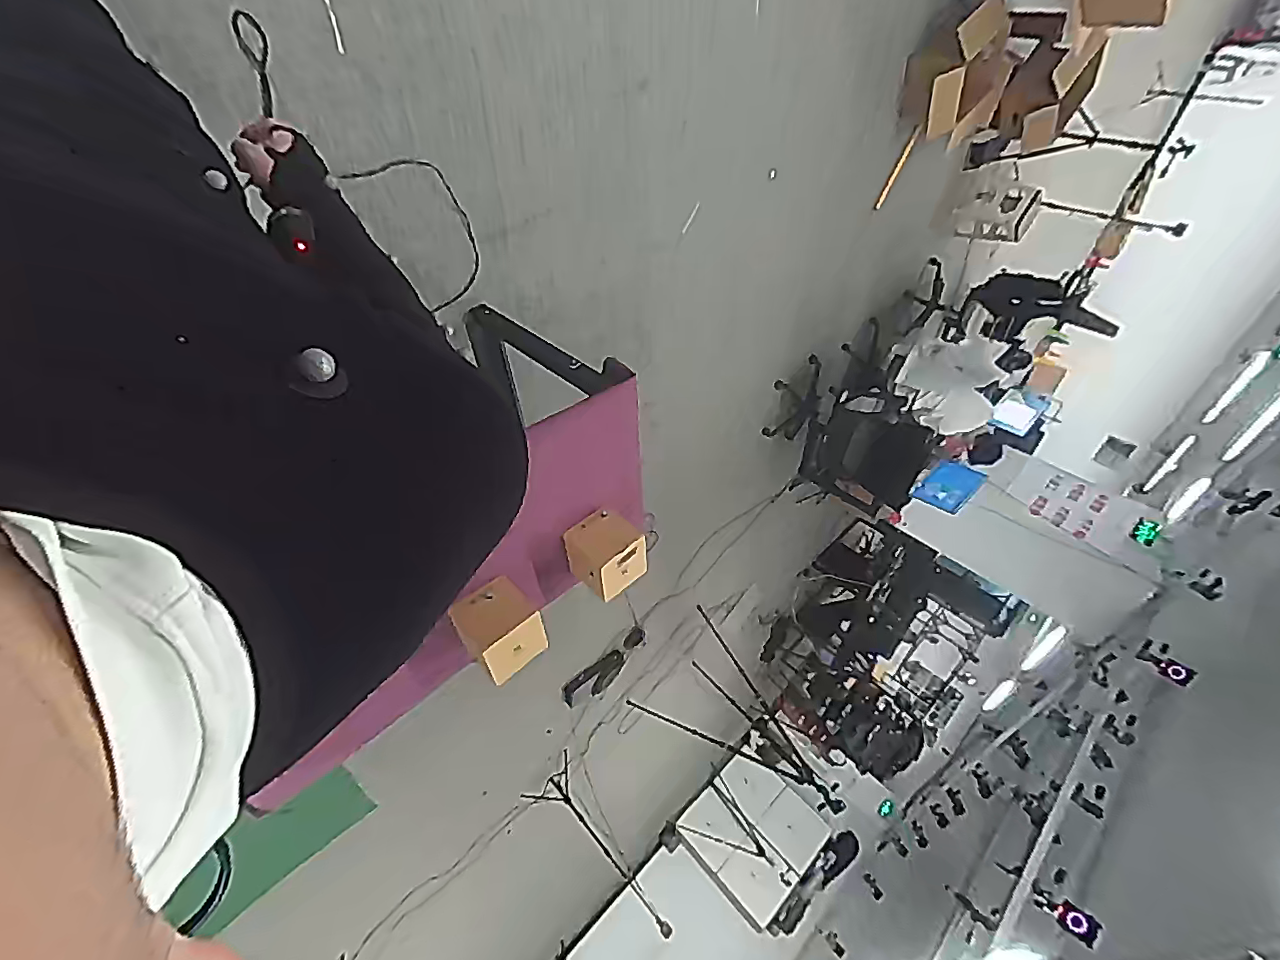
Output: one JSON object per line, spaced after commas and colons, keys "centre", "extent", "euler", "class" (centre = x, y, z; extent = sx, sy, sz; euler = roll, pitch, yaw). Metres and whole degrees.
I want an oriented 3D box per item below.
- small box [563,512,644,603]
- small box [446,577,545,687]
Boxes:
{"centre": [-0.106, 0.214, 1.564], "extent": [0.168, 0.176, 0.179], "euler": [-34, 143, -28], "class": "small box"}
{"centre": [-0.369, 0.384, 1.391], "extent": [0.168, 0.176, 0.179], "euler": [-34, 142, -30], "class": "small box"}
